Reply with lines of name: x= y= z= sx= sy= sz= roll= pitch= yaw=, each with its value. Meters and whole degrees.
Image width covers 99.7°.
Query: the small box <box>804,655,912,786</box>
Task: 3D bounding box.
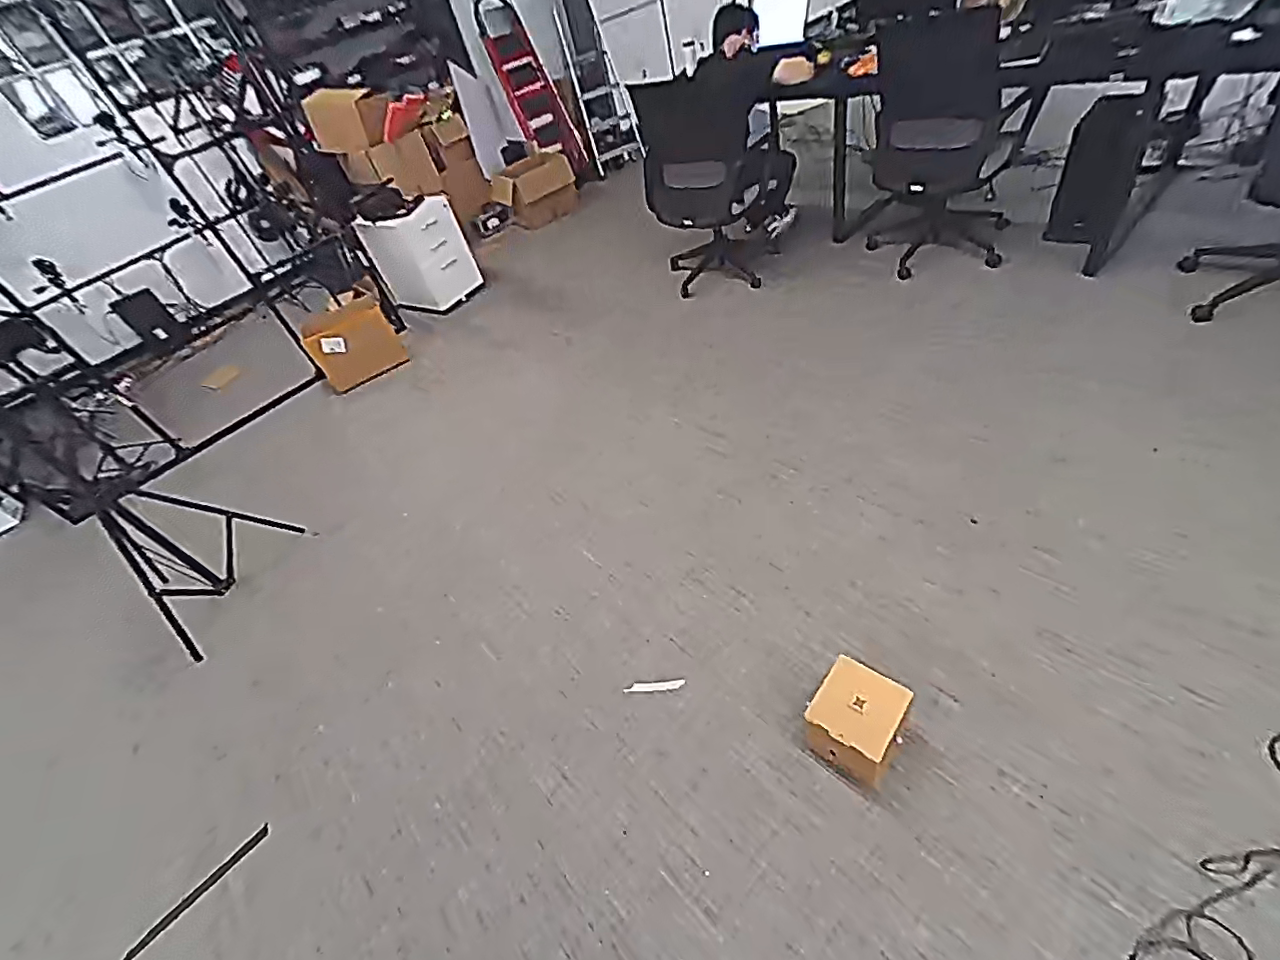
small box: x=0.480 y=0.536 z=1.206 sx=0.168 sy=0.176 sz=0.179 roll=23 pitch=57 yaw=36
